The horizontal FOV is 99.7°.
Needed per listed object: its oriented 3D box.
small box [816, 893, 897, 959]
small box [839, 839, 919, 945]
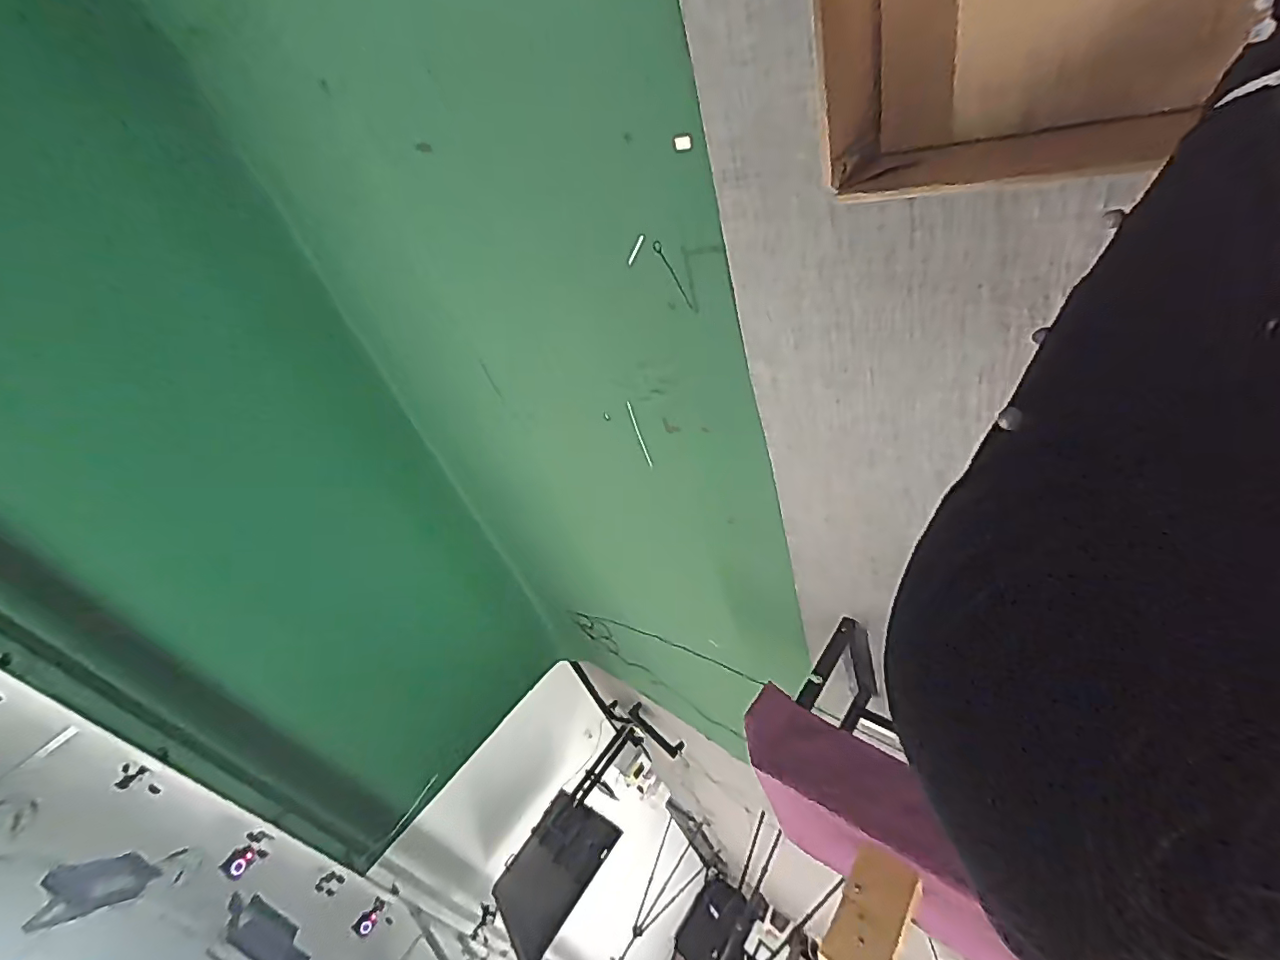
[{"bbox_3d":[0.626,1.345,1.559,0.168,0.176,0.179,19,142,40],"label":"small box"},{"bbox_3d":[0.728,1.240,1.635,0.179,0.176,0.168,17,140,42],"label":"small box"}]
